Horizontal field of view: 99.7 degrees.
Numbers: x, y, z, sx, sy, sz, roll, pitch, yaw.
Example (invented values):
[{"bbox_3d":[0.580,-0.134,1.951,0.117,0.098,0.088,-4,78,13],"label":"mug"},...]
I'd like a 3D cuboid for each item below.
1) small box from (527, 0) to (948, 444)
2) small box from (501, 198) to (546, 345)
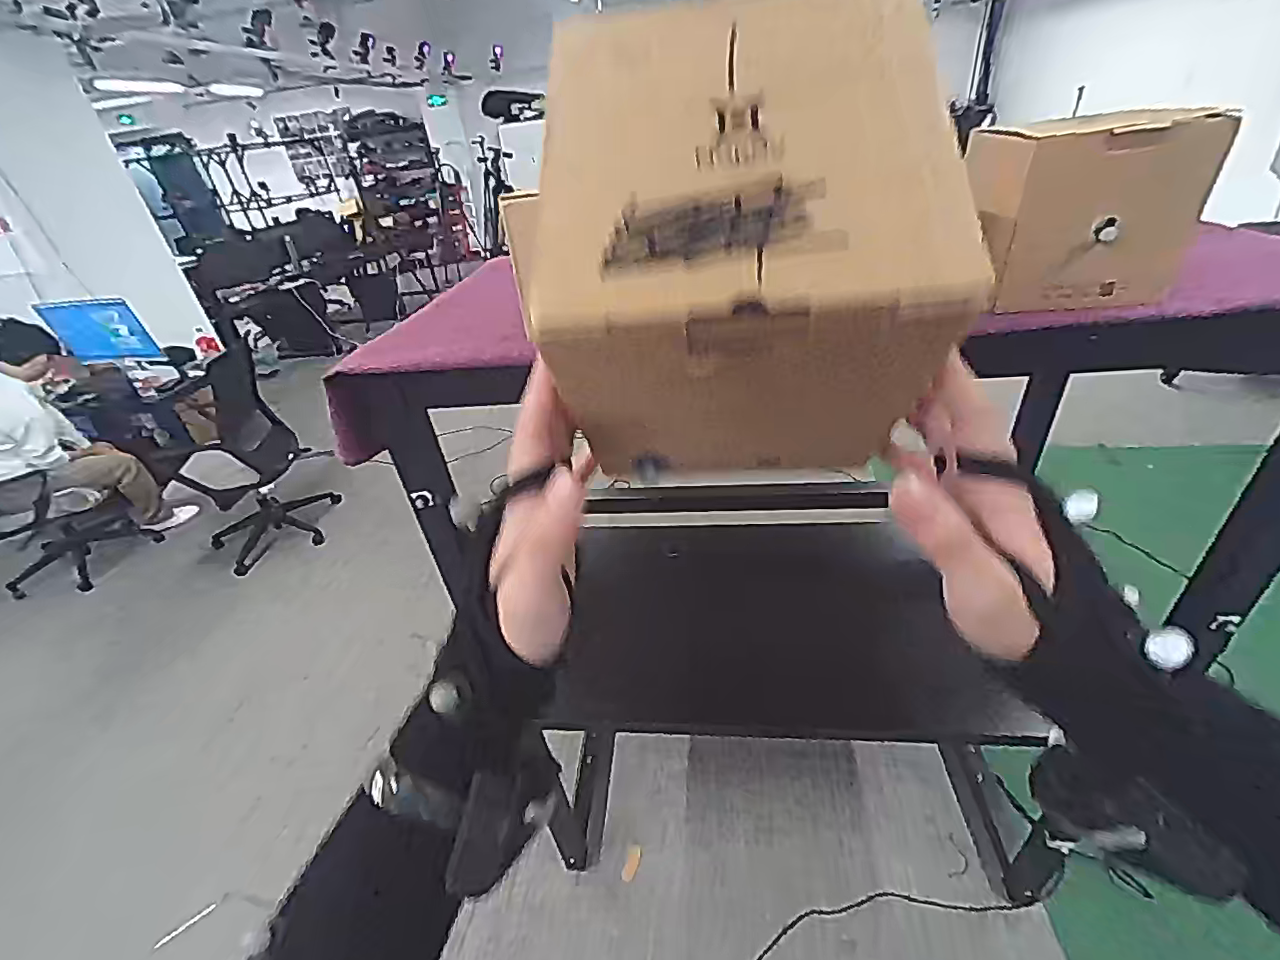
[{"bbox_3d":[0.046,-0.127,0.311,0.168,0.176,0.179,-2,69,7],"label":"small box"},{"bbox_3d":[-0.049,-0.274,0.691,0.179,0.176,0.168,1,33,12],"label":"small box"}]
